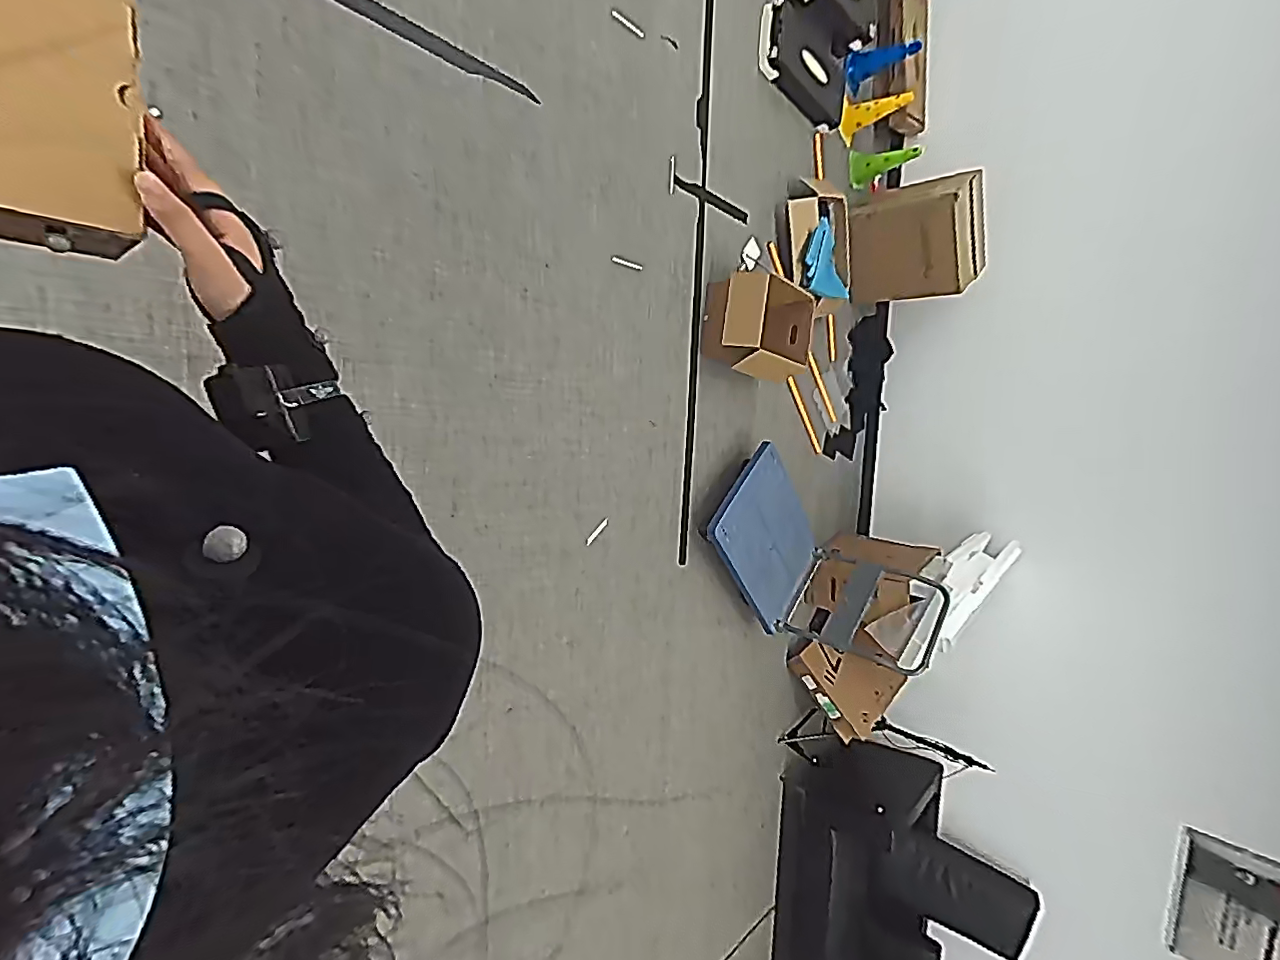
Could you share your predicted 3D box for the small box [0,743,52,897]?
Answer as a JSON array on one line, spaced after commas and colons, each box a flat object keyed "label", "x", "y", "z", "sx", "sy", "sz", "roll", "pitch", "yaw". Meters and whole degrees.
[{"label": "small box", "x": -1.054, "y": 0.542, "z": 0.850, "sx": 0.168, "sy": 0.176, "sz": 0.179, "roll": 3, "pitch": 96, "yaw": -46}]

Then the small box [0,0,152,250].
[{"label": "small box", "x": -0.425, "y": -0.248, "z": 0.326, "sx": 0.179, "sy": 0.176, "sz": 0.168, "roll": -5, "pitch": 105, "yaw": -49}]
